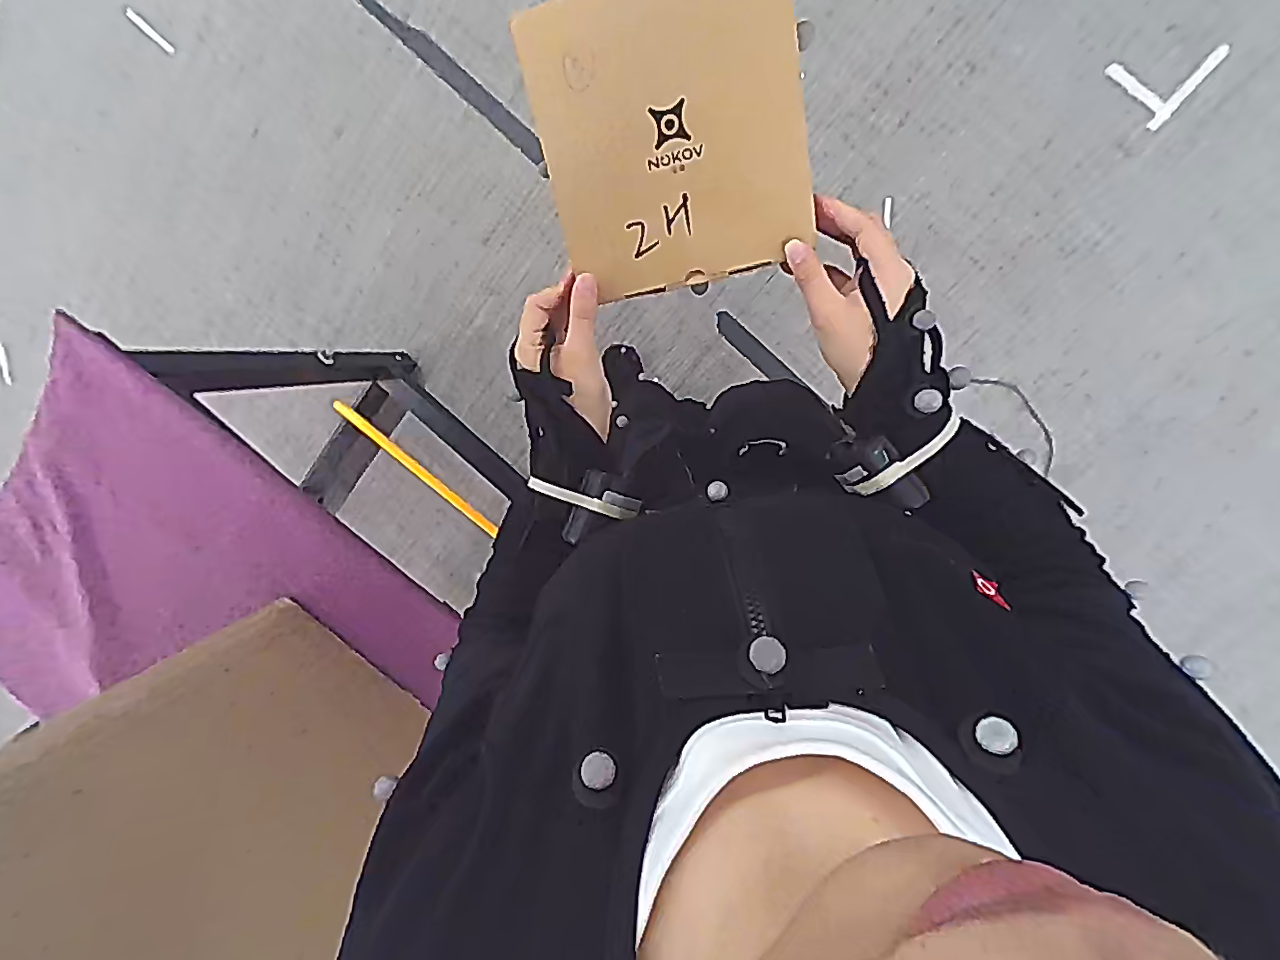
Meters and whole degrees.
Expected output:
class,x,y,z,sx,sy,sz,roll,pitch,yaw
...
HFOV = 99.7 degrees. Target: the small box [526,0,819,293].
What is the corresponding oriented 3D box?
class,x,y,z,sx,sy,sz,roll,pitch,yaw
small box,0.033,-0.254,0.419,0.168,0.176,0.179,-9,112,11
